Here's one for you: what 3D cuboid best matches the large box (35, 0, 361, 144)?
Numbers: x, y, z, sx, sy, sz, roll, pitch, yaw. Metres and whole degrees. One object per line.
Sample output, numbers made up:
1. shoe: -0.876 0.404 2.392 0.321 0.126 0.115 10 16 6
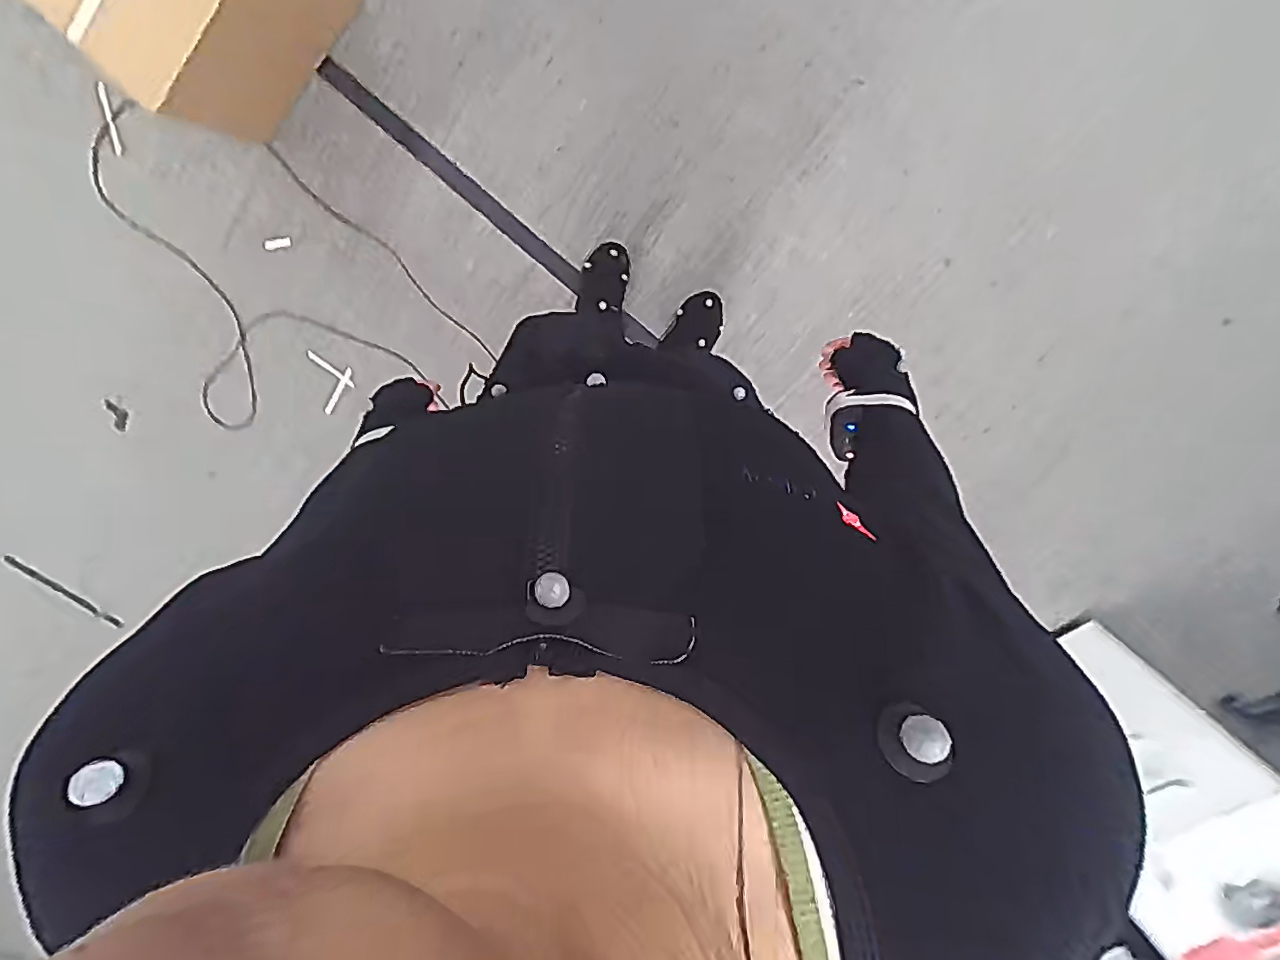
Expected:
1. large box: -0.832 -0.948 1.031 0.408 0.320 0.320 -41 105 17
